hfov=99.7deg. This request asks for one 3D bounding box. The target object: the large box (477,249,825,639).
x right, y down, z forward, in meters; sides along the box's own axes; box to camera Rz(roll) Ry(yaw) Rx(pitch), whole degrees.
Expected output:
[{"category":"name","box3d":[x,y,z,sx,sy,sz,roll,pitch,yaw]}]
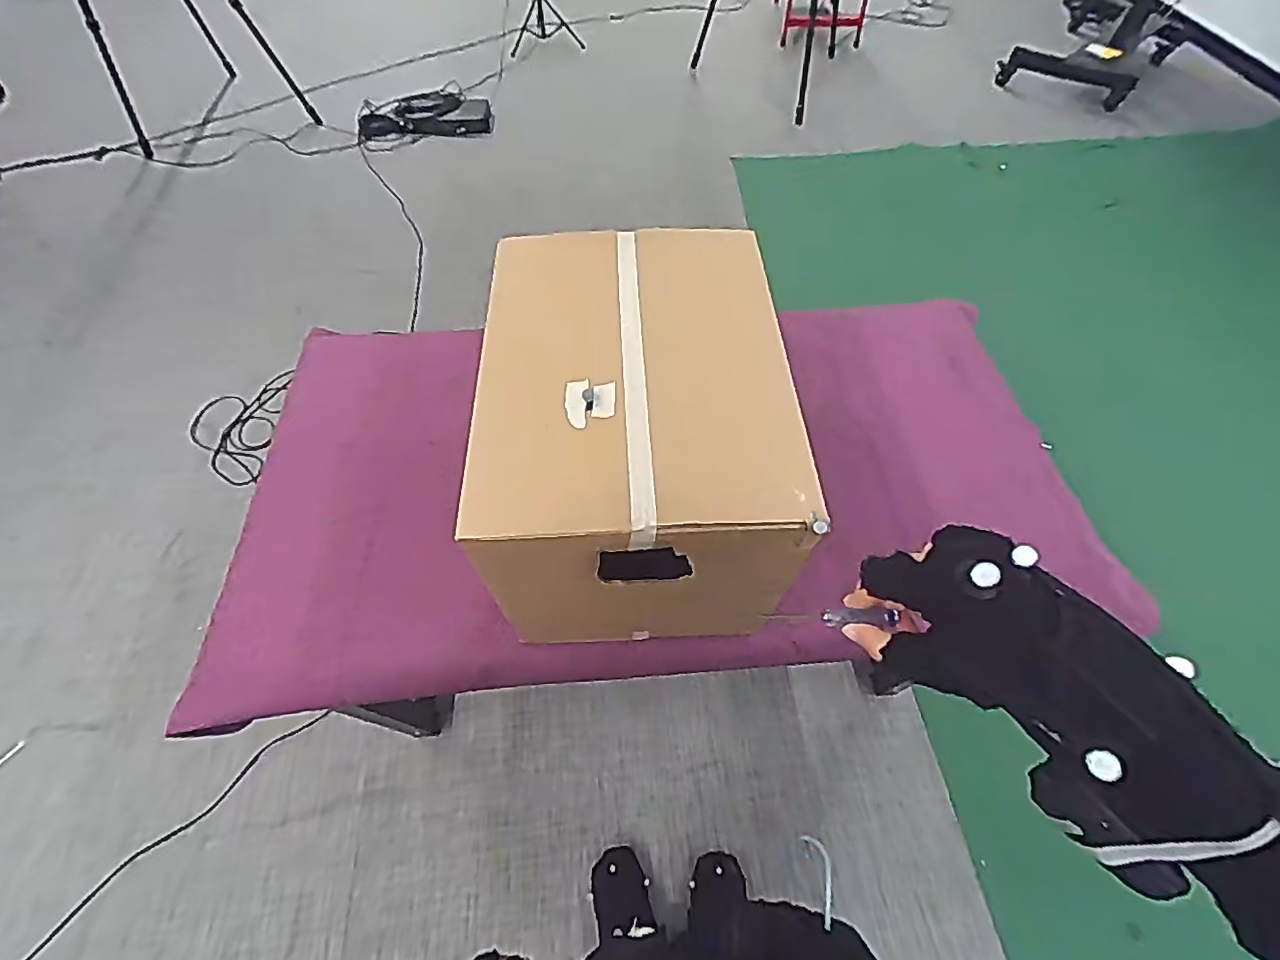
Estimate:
[{"category":"large box","box3d":[-0.002,-0.038,0.698,0.320,0.320,0.408,-2,59,-1]}]
